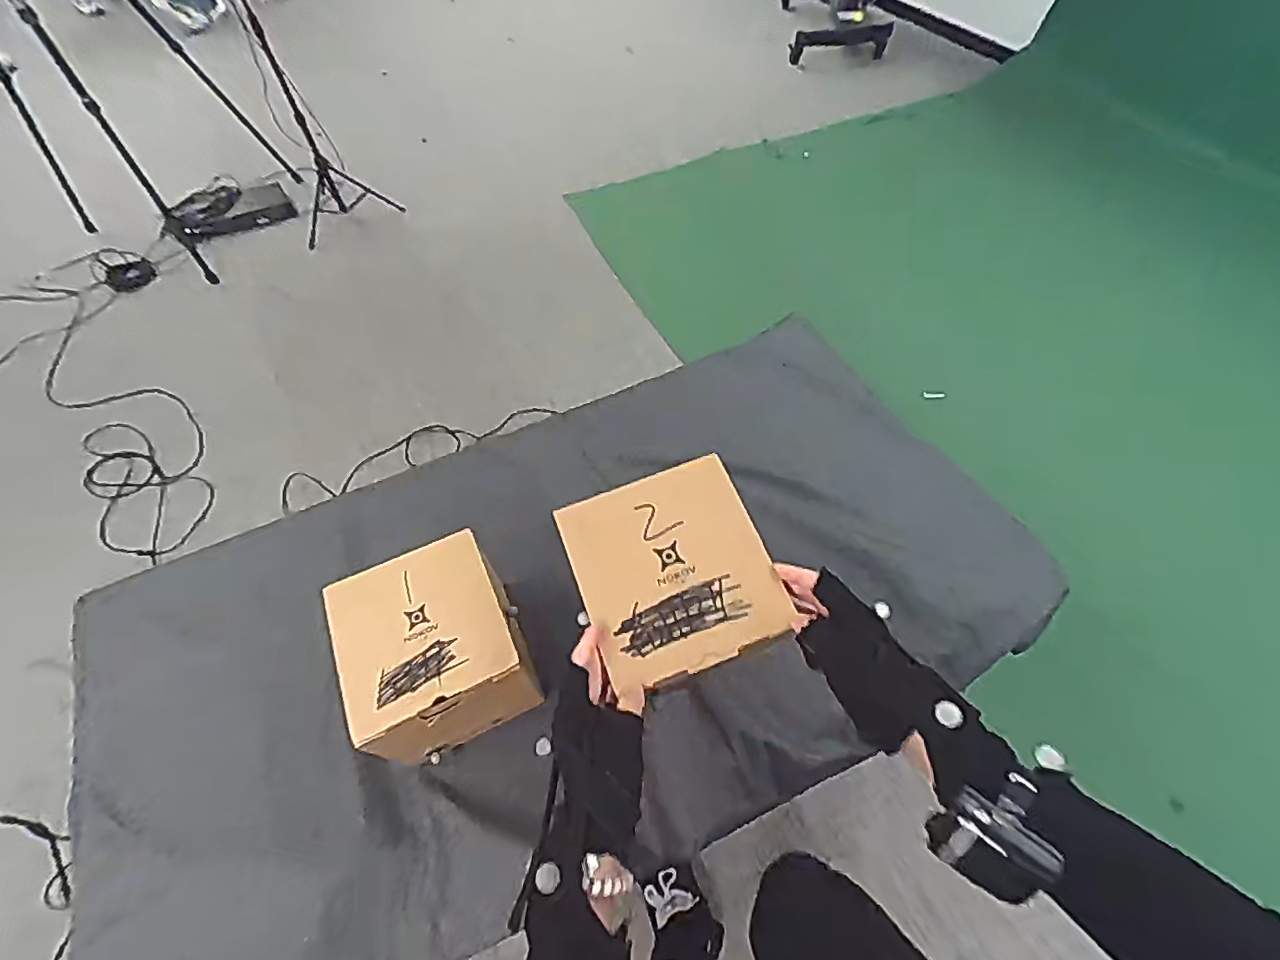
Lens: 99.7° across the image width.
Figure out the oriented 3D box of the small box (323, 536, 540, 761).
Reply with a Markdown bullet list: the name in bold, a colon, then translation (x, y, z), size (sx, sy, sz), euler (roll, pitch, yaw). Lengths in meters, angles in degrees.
- **small box**: translation (-0.227, 0.200, 0.620), size (0.168, 0.176, 0.179), euler (-23, 59, -14)
